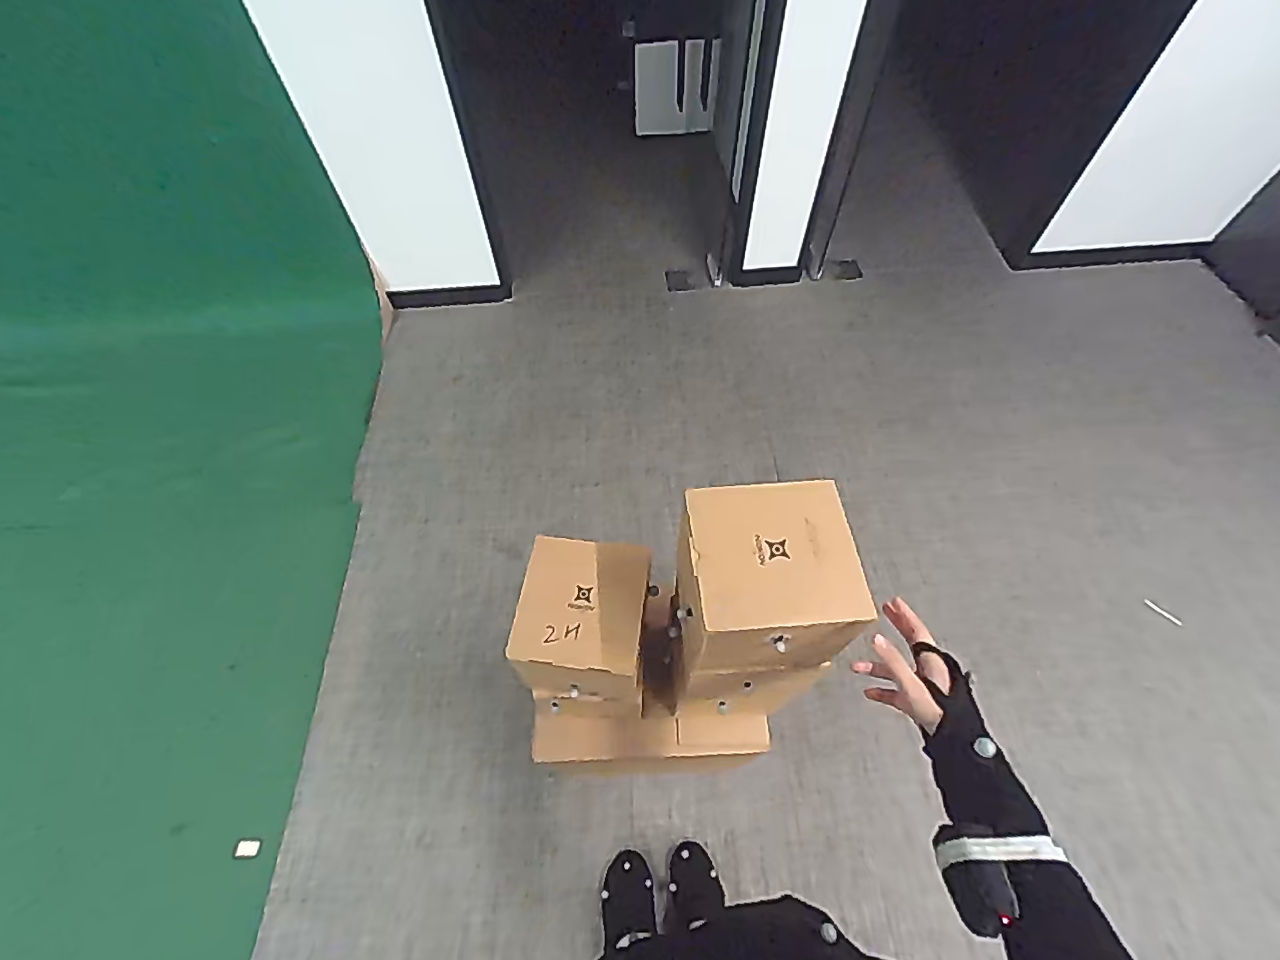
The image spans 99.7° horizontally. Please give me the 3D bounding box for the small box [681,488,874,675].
[{"bbox_3d":[0.142,0.126,0.639,0.179,0.176,0.168,-3,57,-2],"label":"small box"}]
